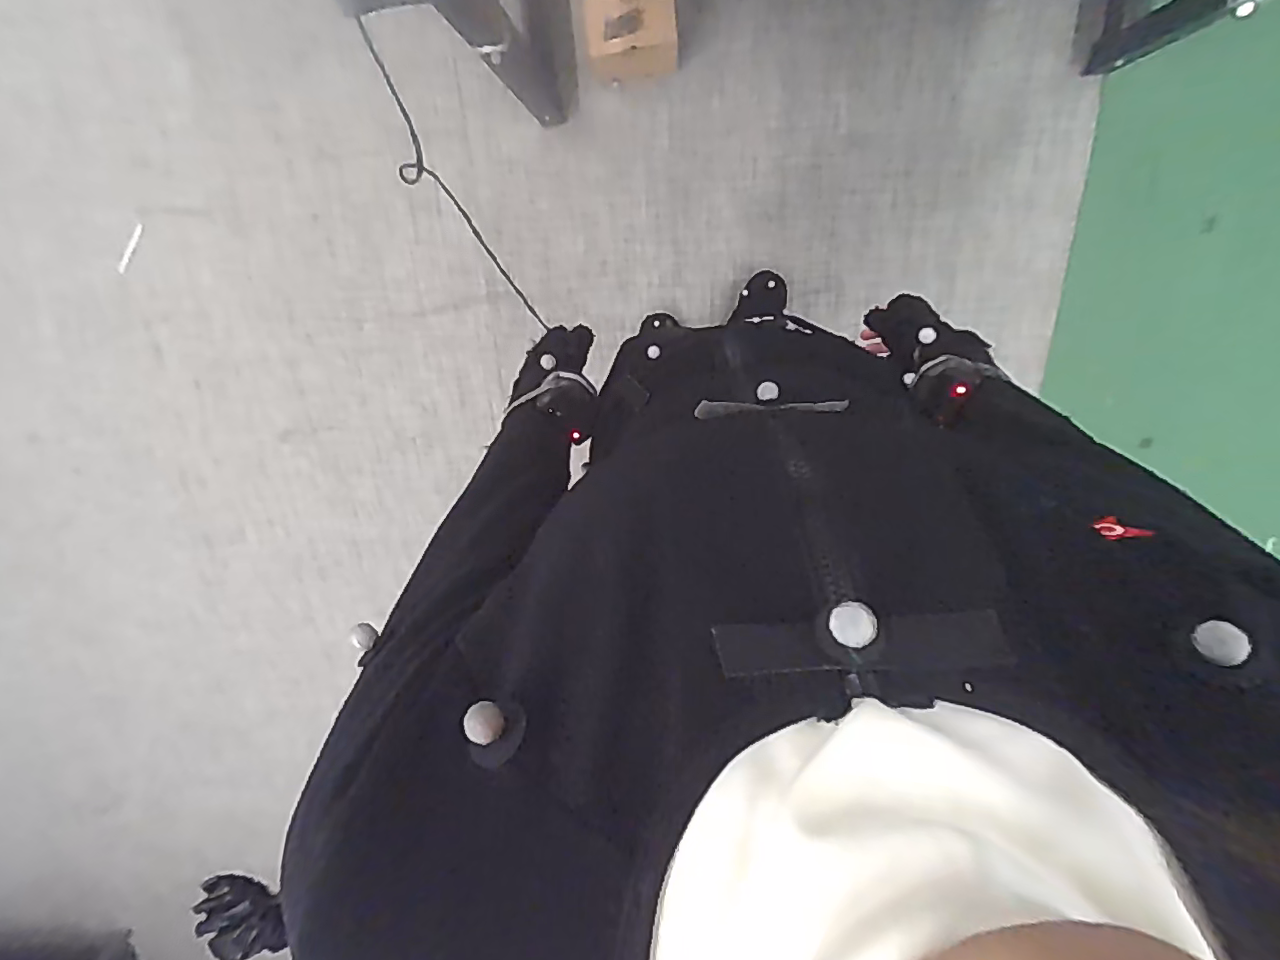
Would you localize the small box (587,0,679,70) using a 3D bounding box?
[{"bbox_3d":[-0.012,-0.921,1.040,0.168,0.176,0.179,-5,110,5],"label":"small box"}]
